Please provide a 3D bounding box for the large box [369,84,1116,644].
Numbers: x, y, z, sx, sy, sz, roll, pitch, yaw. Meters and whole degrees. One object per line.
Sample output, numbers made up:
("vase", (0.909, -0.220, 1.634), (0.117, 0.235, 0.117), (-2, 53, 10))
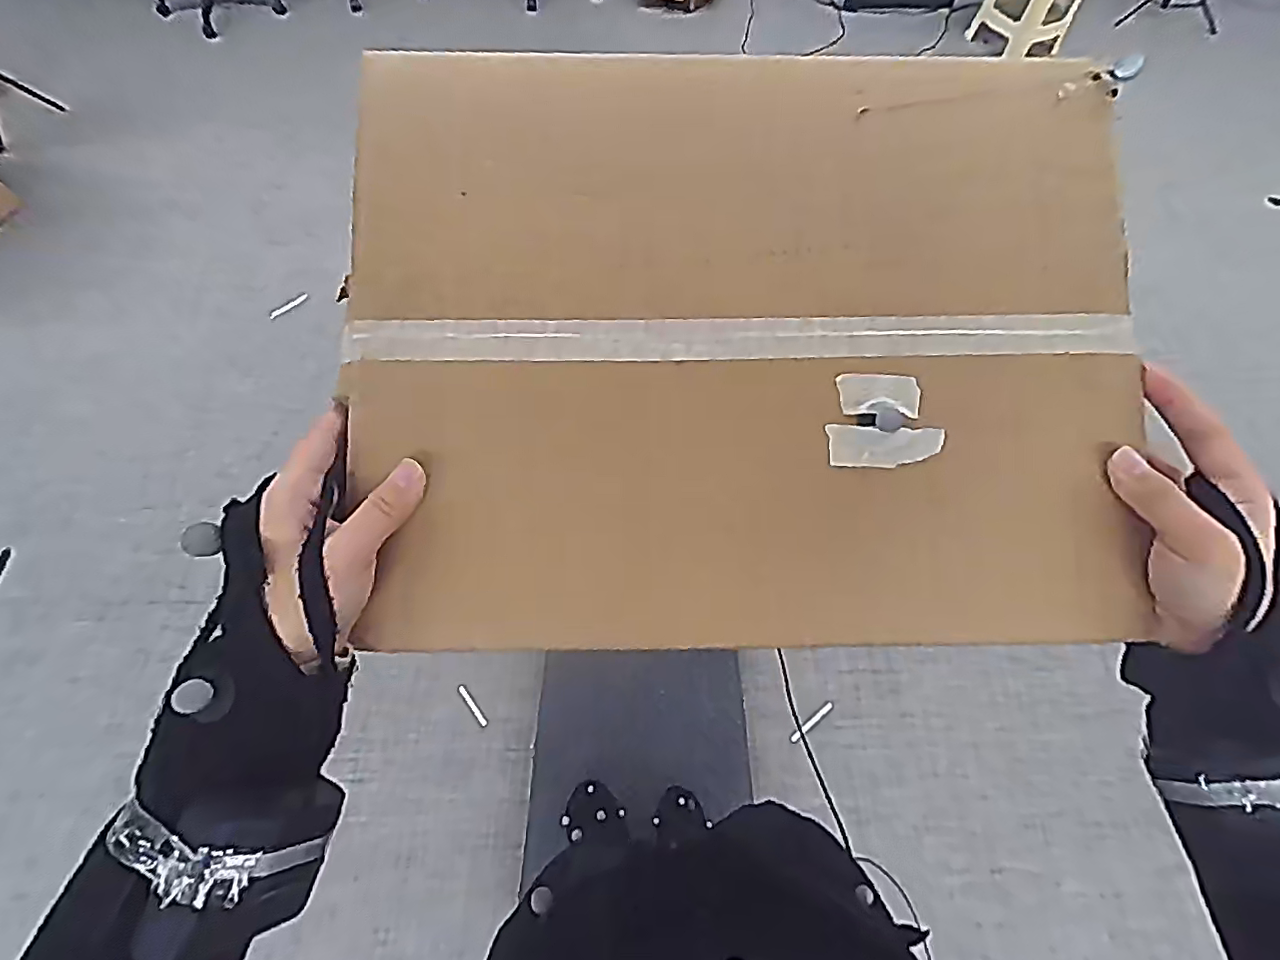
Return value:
("large box", (0.049, -0.060, 0.444), (0.408, 0.320, 0.320), (-1, 86, -1))
